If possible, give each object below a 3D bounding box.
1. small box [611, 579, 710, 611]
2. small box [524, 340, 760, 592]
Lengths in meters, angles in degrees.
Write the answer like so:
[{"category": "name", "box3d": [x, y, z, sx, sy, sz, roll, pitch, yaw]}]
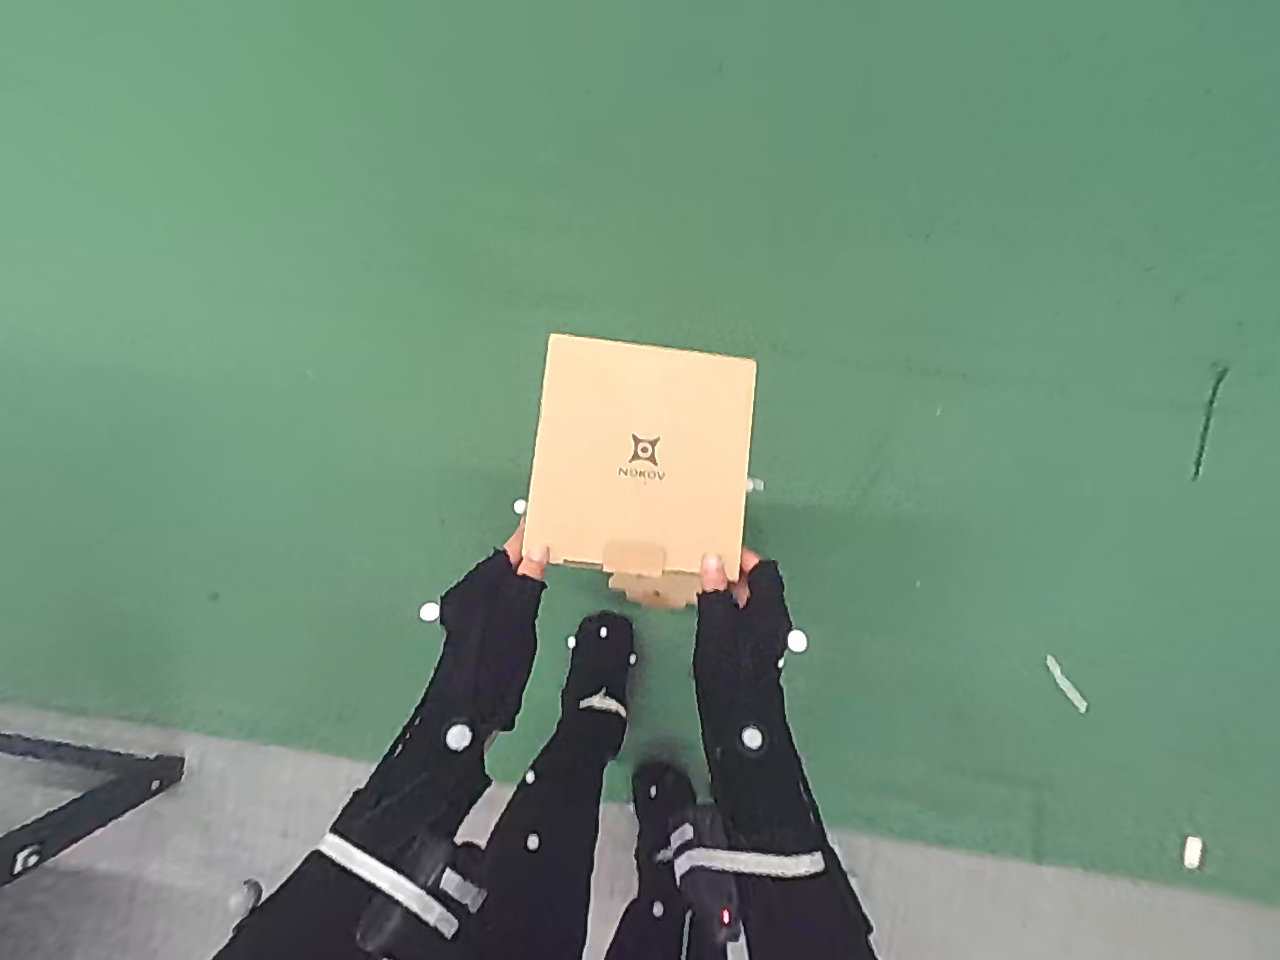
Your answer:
[{"category": "small box", "box3d": [0.049, 0.123, 0.984, 0.168, 0.176, 0.179, 10, 88, 3]}, {"category": "small box", "box3d": [-0.004, -0.002, 0.482, 0.168, 0.176, 0.179, 7, 83, -5]}]
